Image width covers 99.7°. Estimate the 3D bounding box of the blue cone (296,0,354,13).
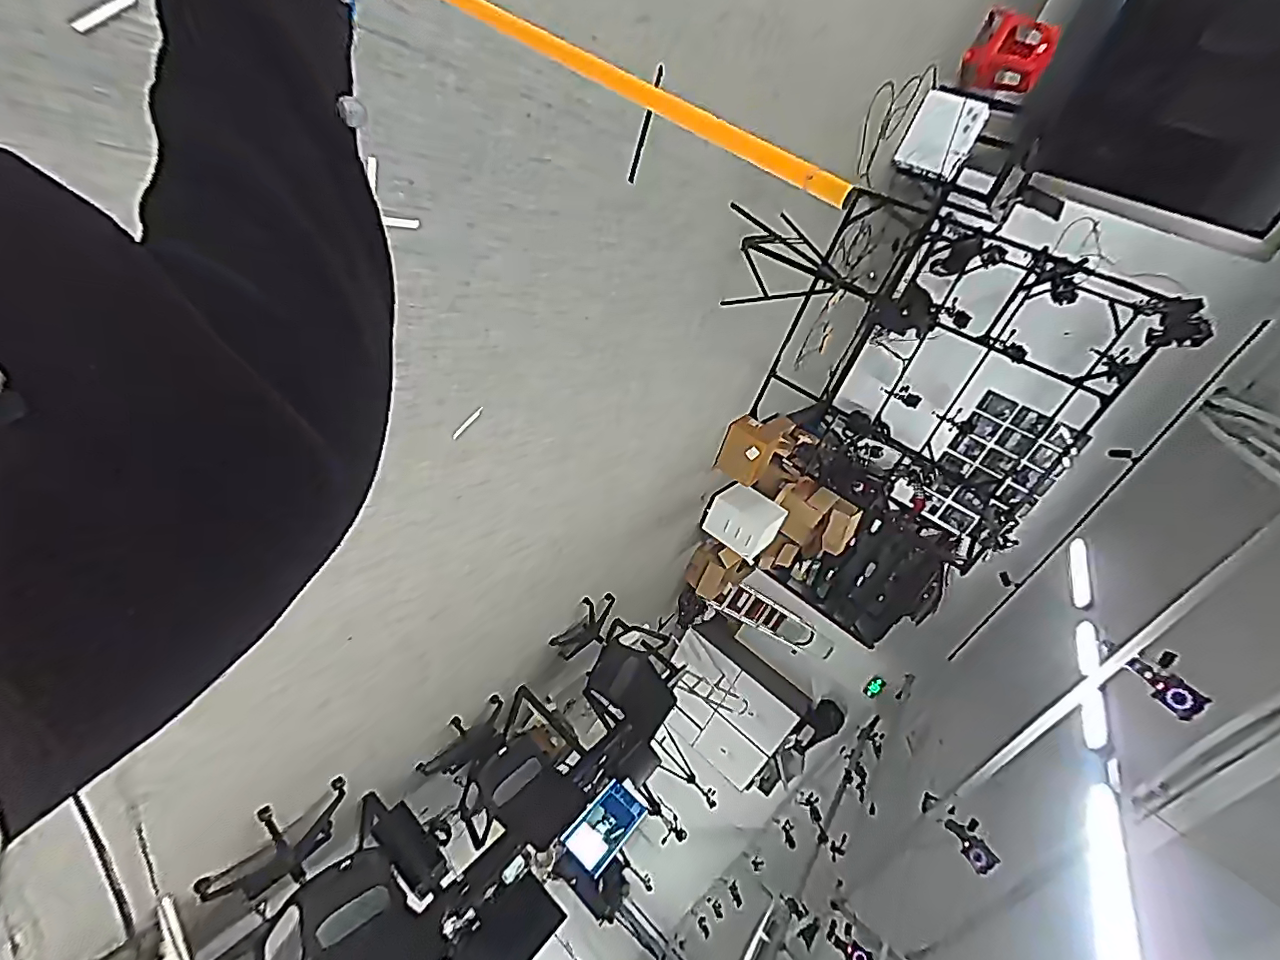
[{"bbox_3d":[-0.506,-0.929,0.950,0.193,0.380,0.192,-27,144,-48],"label":"blue cone"}]
